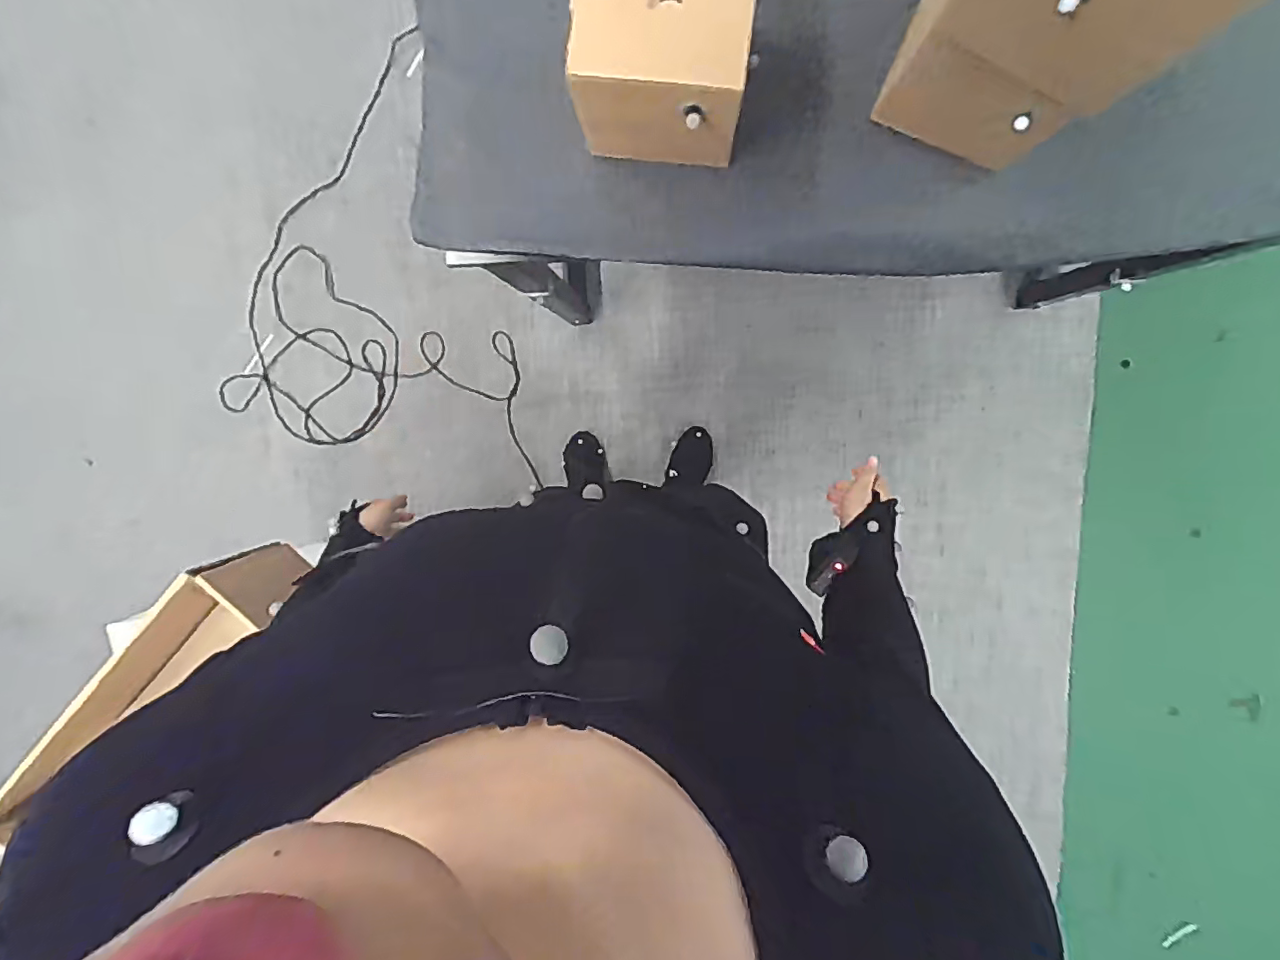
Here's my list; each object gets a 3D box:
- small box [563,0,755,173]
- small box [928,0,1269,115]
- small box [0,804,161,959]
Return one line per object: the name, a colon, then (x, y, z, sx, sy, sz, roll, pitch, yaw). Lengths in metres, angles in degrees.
small box: (0.025, -0.462, 0.594, 0.179, 0.176, 0.168, 7, 97, 3)
small box: (0.367, -0.422, 0.407, 0.179, 0.176, 0.168, 30, 98, 0)
small box: (-0.828, 0.593, 0.734, 0.179, 0.176, 0.168, -29, 98, 6)
